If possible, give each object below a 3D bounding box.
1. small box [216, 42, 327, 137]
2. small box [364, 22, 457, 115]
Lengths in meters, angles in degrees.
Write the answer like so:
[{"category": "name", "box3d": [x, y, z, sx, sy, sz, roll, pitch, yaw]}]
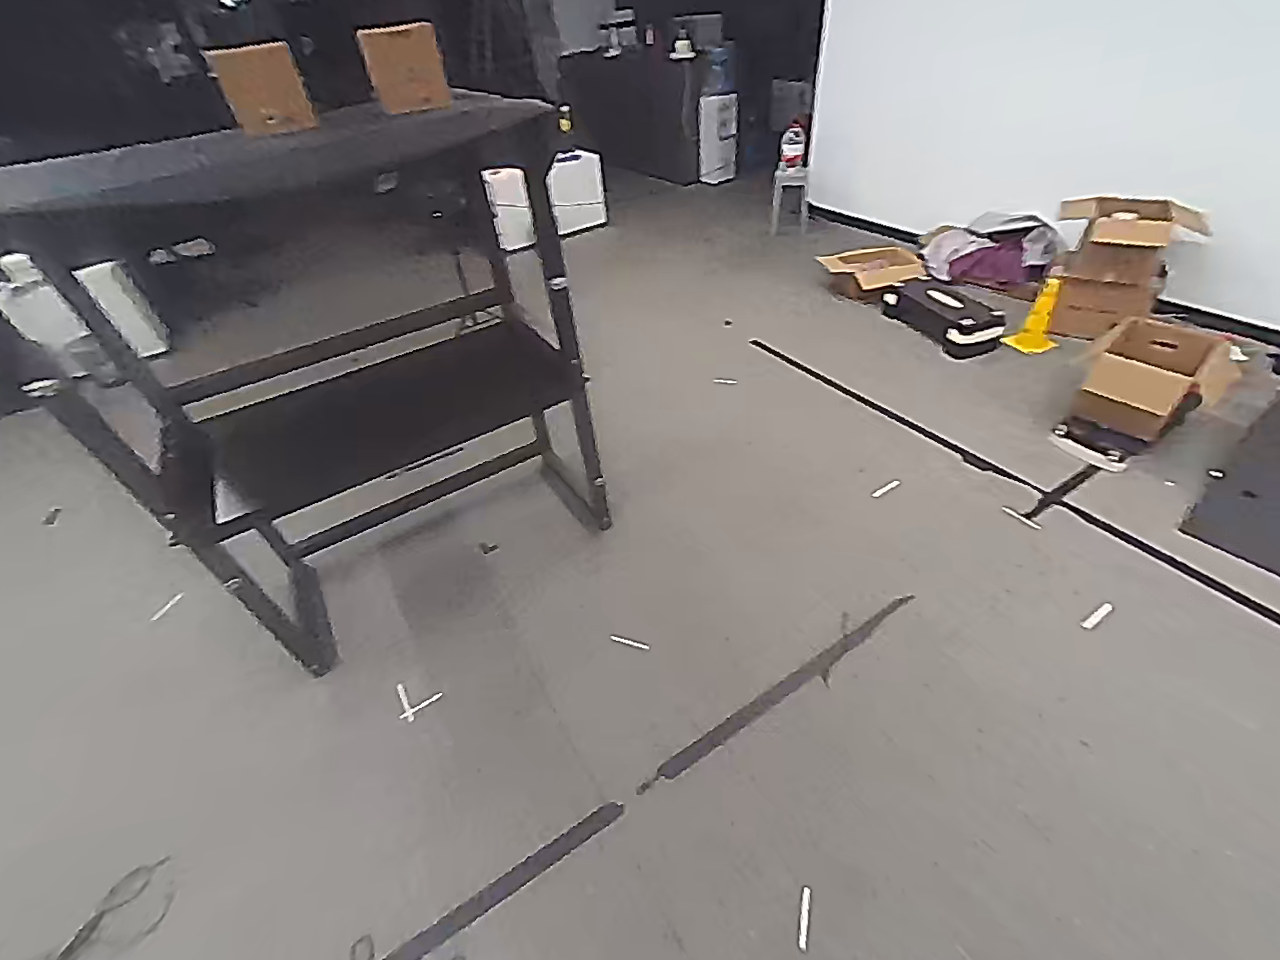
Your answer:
[{"category": "small box", "box3d": [-0.905, -0.962, 1.334, 0.168, 0.176, 0.179, -27, 46, -19]}, {"category": "small box", "box3d": [-0.595, -1.074, 1.414, 0.168, 0.176, 0.179, -22, 46, -16]}]
